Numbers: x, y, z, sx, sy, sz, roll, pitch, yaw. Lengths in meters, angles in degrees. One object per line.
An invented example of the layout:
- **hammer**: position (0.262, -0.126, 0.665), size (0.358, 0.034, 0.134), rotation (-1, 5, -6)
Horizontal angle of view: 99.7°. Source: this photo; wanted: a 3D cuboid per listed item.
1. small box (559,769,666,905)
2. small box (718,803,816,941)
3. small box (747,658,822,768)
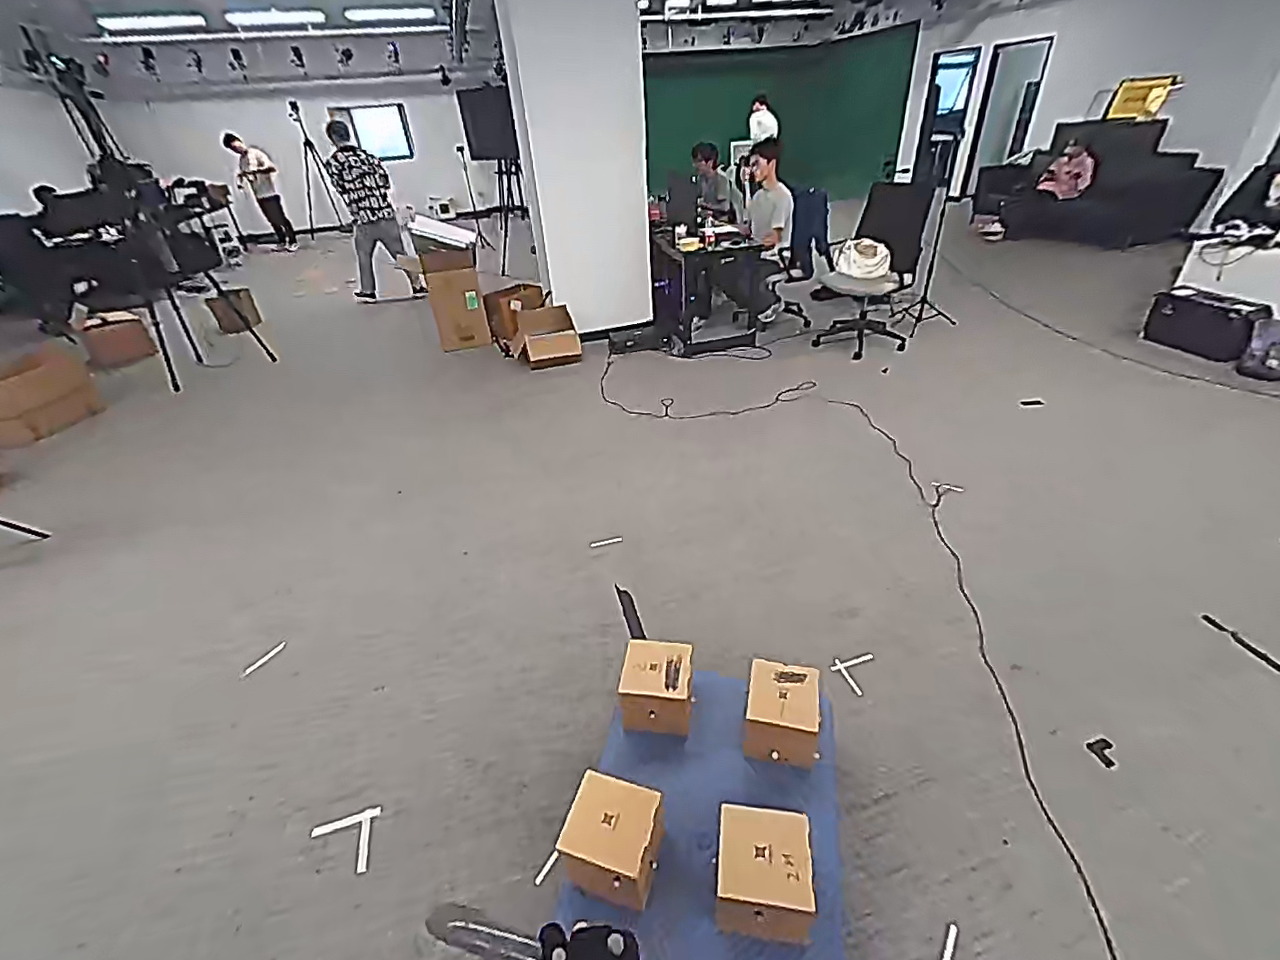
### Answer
- **small box**: position (-0.050, 0.761, 1.153), size (0.179, 0.176, 0.168), rotation (8, 36, 17)
- **small box**: position (0.250, 0.782, 1.080), size (0.179, 0.176, 0.168), rotation (2, 35, 11)
- **small box**: position (0.362, 0.583, 1.360), size (0.168, 0.176, 0.179), rotation (5, 36, 15)
